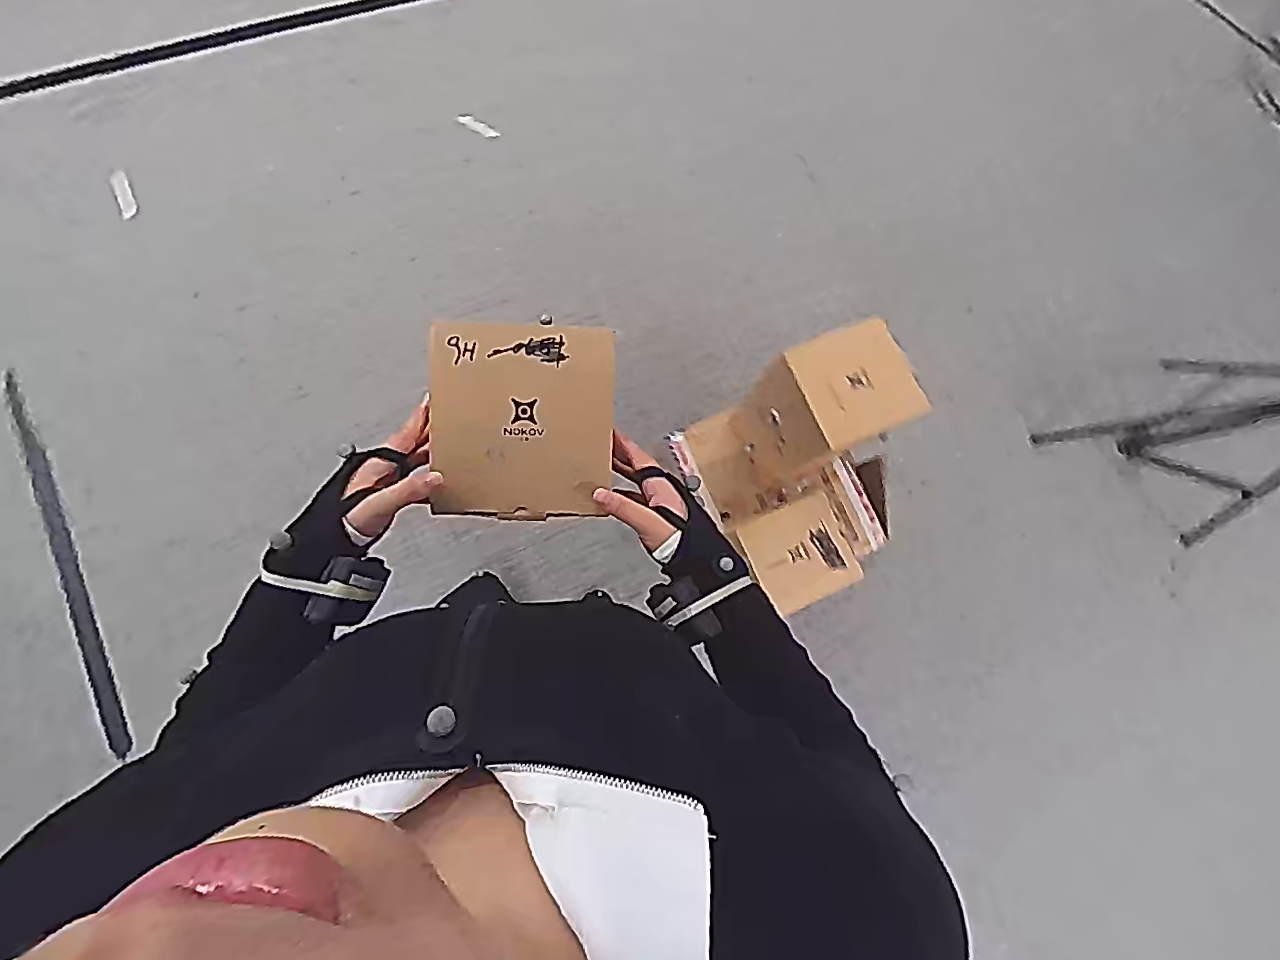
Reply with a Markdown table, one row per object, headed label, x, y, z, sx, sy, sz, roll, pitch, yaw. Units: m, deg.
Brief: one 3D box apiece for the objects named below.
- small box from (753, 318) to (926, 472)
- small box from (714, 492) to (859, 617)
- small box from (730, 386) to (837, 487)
| label | x | y | z | sx | sy | sz | roll | pitch | yaw |
| --- | --- | --- | --- | --- | --- | --- | --- | --- | --- |
| small box | 0.312 | -0.130 | 0.881 | 0.179 | 0.176 | 0.168 | -22 | 81 | -8 |
| small box | 0.258 | 0.135 | 0.996 | 0.179 | 0.176 | 0.168 | -22 | 84 | -8 |
| small box | 0.298 | -0.101 | 1.041 | 0.179 | 0.176 | 0.168 | -22 | 81 | -9 |
